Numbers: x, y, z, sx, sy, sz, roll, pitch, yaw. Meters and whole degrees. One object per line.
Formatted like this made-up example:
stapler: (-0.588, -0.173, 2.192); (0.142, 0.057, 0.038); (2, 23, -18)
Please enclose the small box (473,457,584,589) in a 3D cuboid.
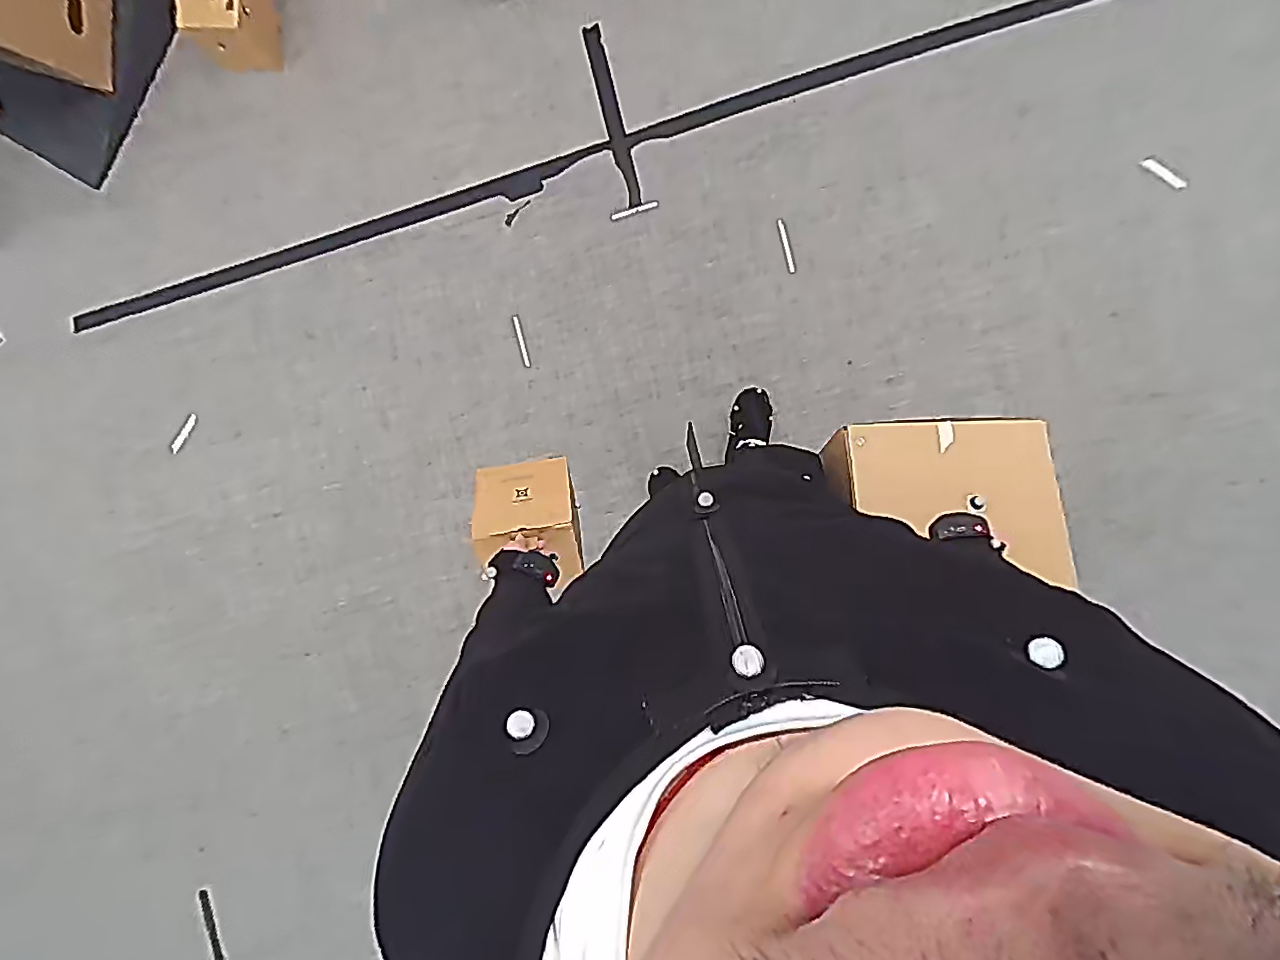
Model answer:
small box: (-0.199, 0.085, 0.998); (0.168, 0.179, 0.176); (-8, 131, -5)
